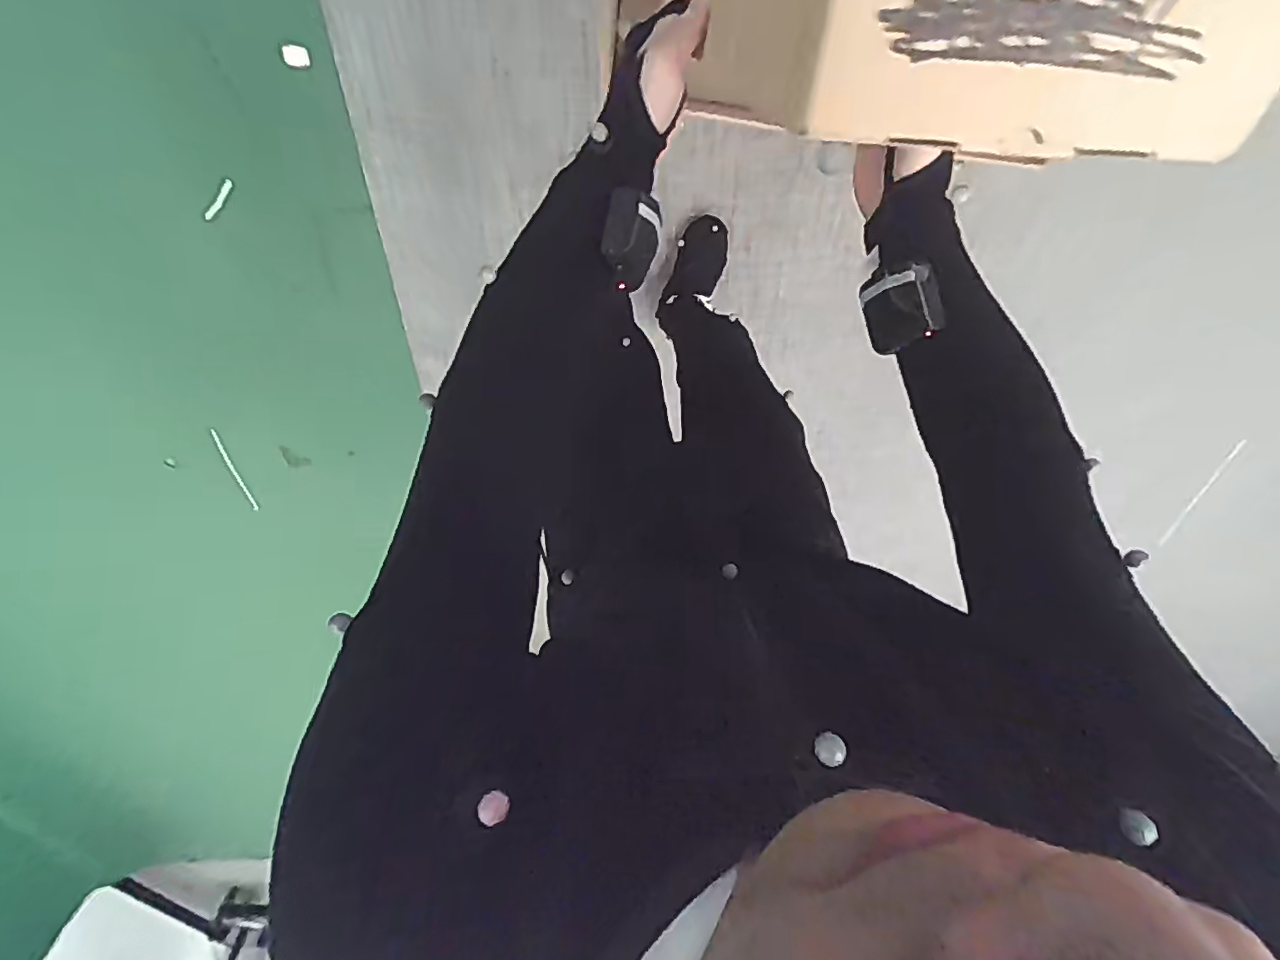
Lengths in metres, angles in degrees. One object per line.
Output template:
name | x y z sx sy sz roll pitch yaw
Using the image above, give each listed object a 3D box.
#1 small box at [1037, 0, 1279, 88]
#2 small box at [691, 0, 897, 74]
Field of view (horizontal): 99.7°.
small box | 0.429 -0.395 0.383 0.168 0.176 0.179 4 128 -4
small box | 0.140 -0.457 0.445 0.168 0.176 0.179 3 130 -5
